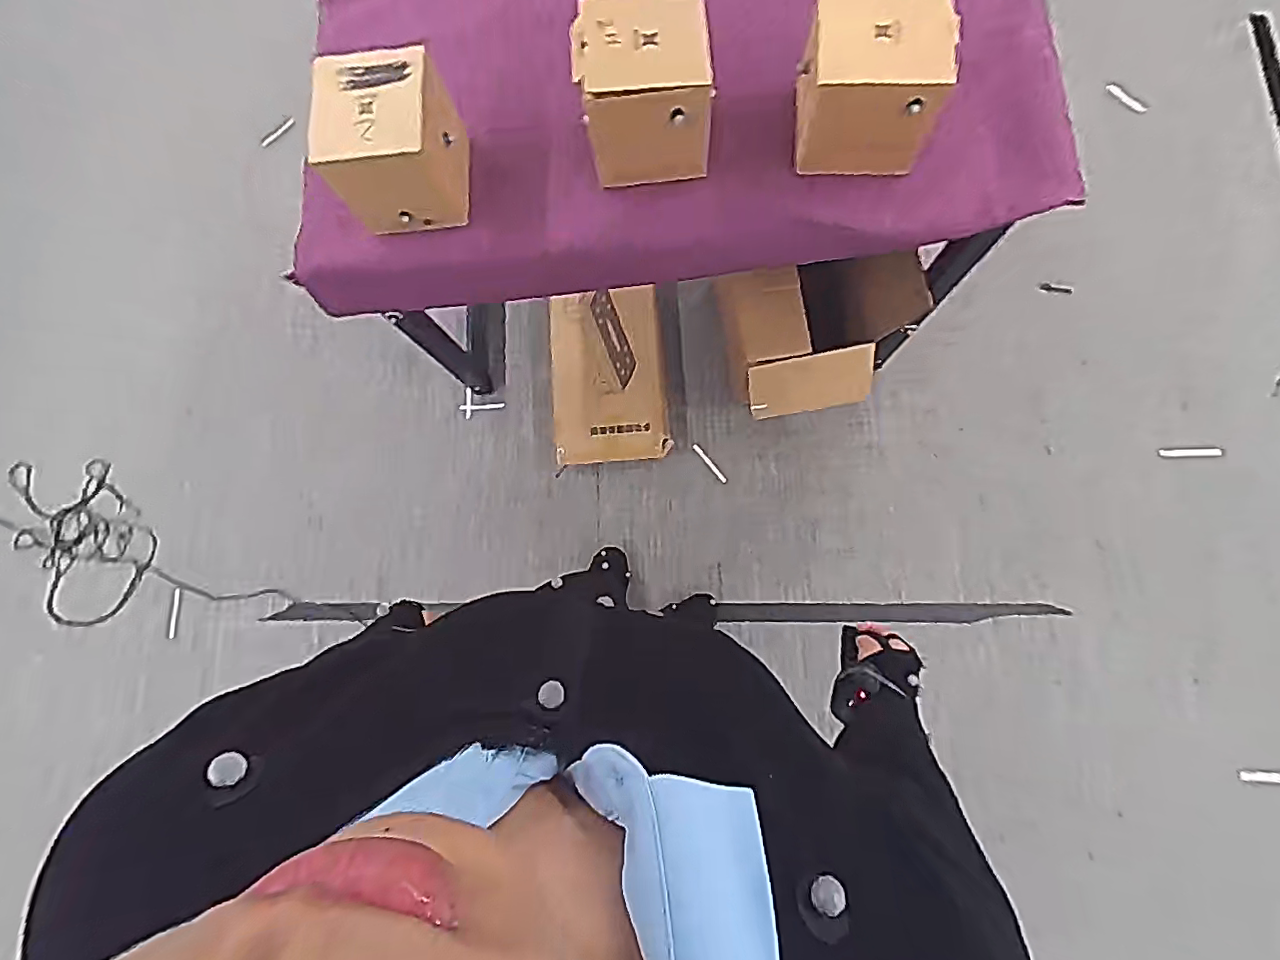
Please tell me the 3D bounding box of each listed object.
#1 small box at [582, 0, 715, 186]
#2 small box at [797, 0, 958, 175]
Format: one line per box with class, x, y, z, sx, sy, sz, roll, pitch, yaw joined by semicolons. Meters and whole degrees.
small box;0.014;-0.577;0.814;0.179;0.176;0.168;-4;78;4
small box;0.332;-0.574;0.789;0.179;0.176;0.168;3;80;5
